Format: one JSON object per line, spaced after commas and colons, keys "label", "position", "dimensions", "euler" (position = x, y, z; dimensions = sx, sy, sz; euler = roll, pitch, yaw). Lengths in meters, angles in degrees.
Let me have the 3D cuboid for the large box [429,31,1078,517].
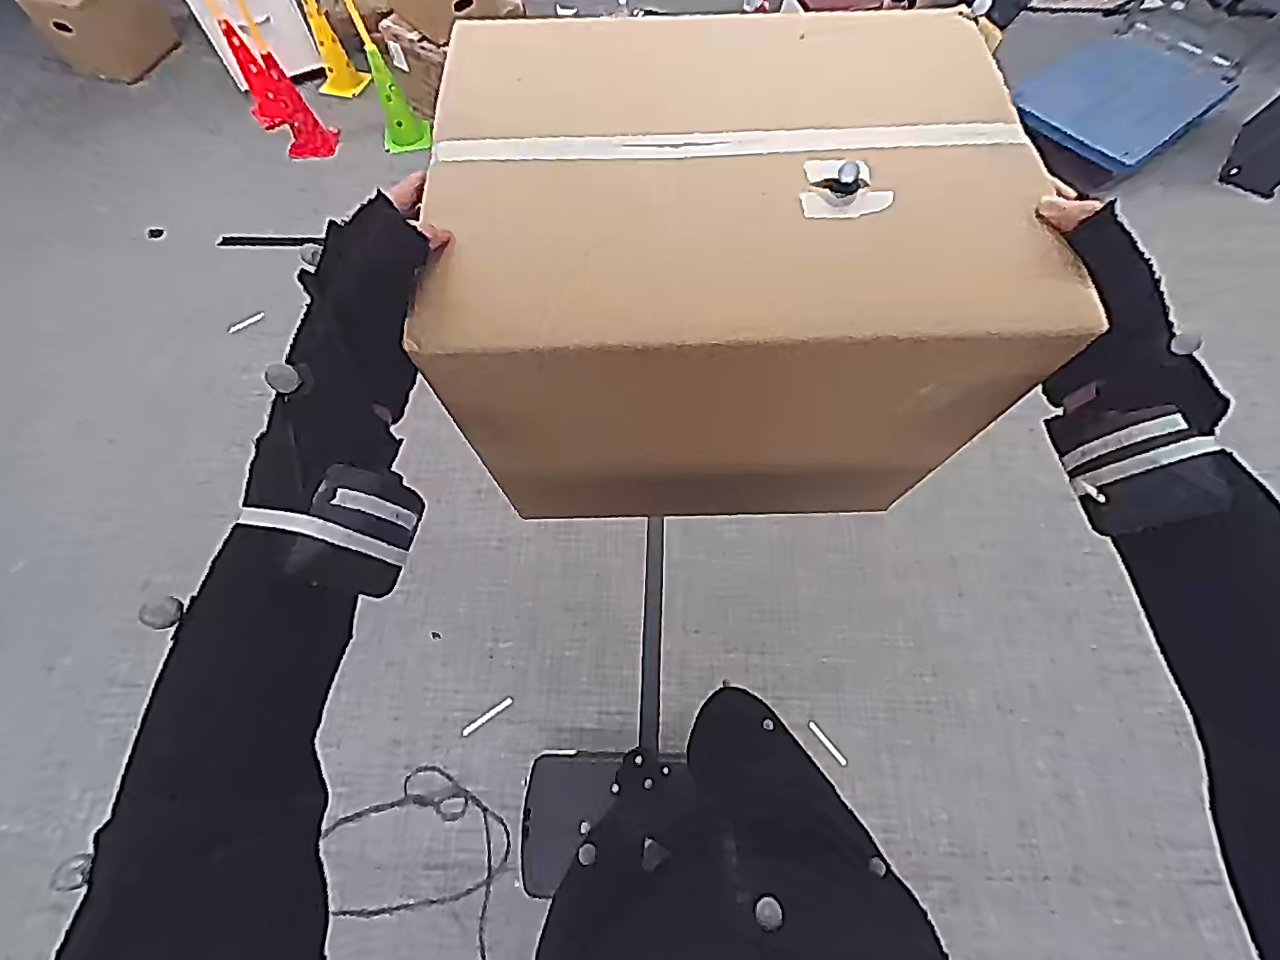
{"label": "large box", "position": [0.062, -0.163, 0.518], "dimensions": [0.408, 0.320, 0.320], "euler": [-2, 68, -1]}
